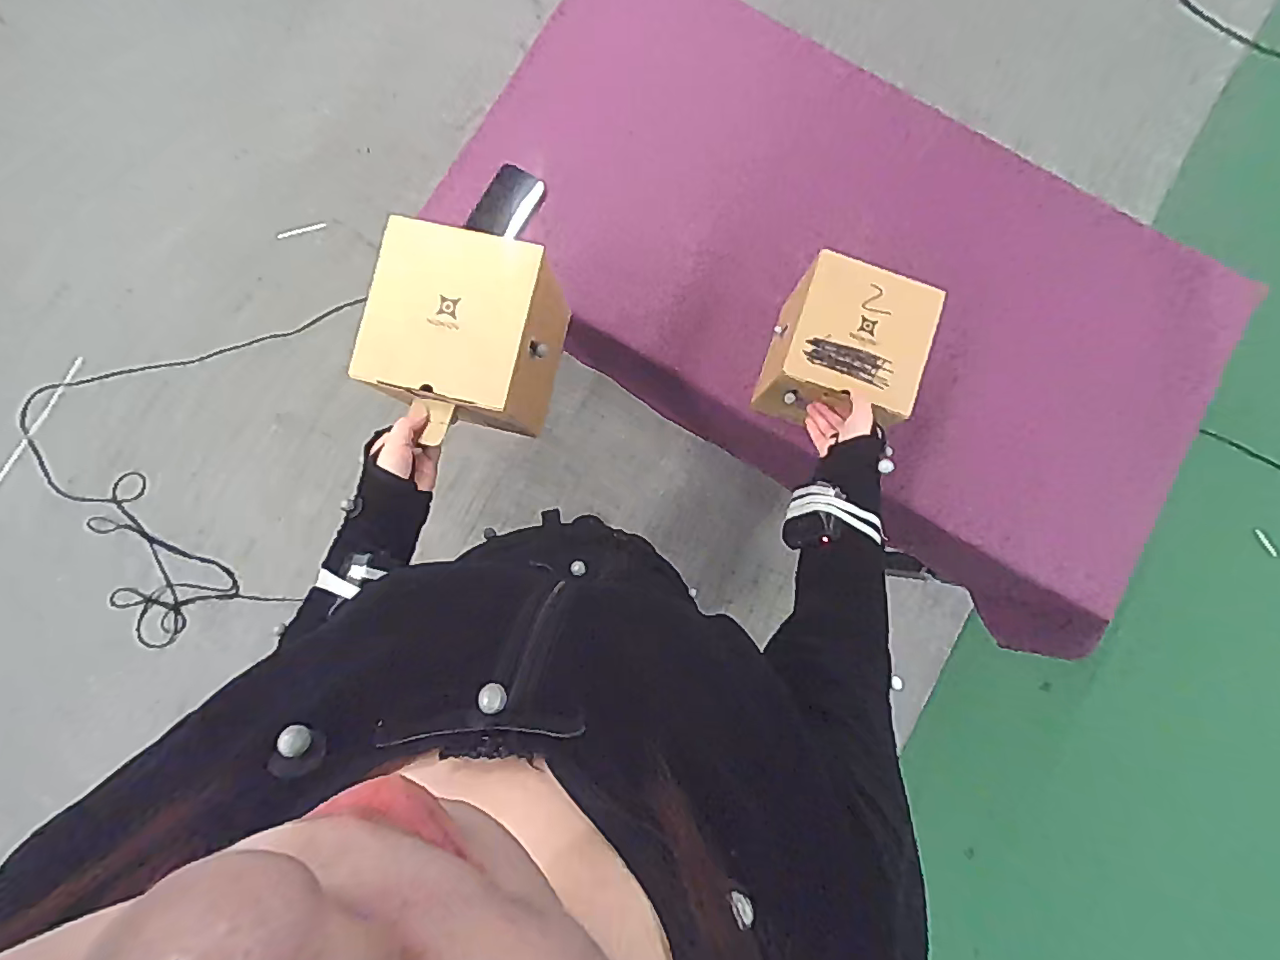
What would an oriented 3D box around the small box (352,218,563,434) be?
[{"bbox_3d":[-0.194,-0.165,0.632,0.168,0.176,0.179,13,87,2],"label":"small box"}]
